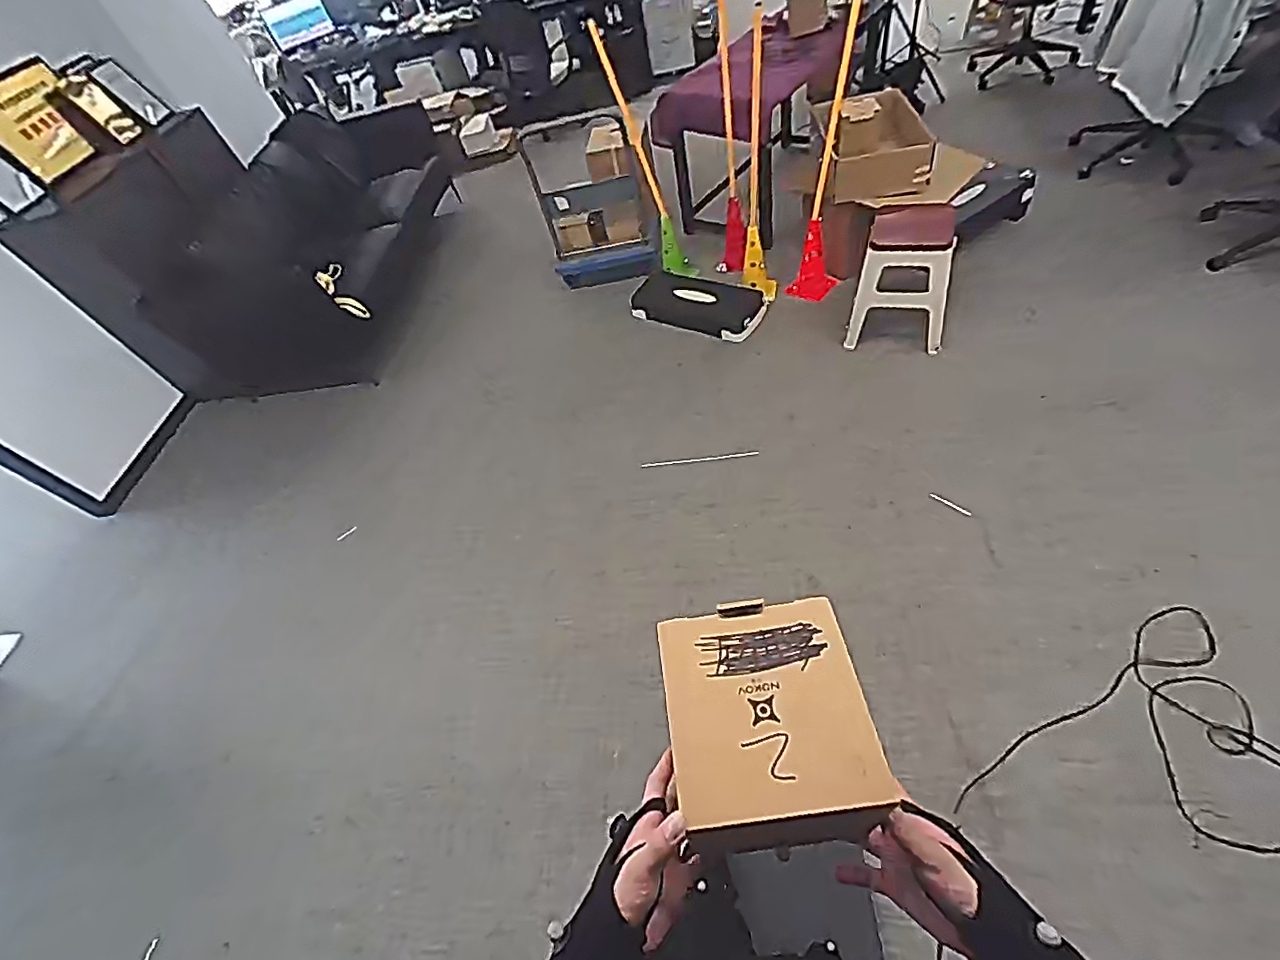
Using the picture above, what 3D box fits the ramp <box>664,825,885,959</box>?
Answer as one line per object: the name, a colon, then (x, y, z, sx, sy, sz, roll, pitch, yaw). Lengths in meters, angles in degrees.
ramp: (0.276, 1.232, 1.037, 0.509, 0.206, 0.991, -8, 51, 11)
